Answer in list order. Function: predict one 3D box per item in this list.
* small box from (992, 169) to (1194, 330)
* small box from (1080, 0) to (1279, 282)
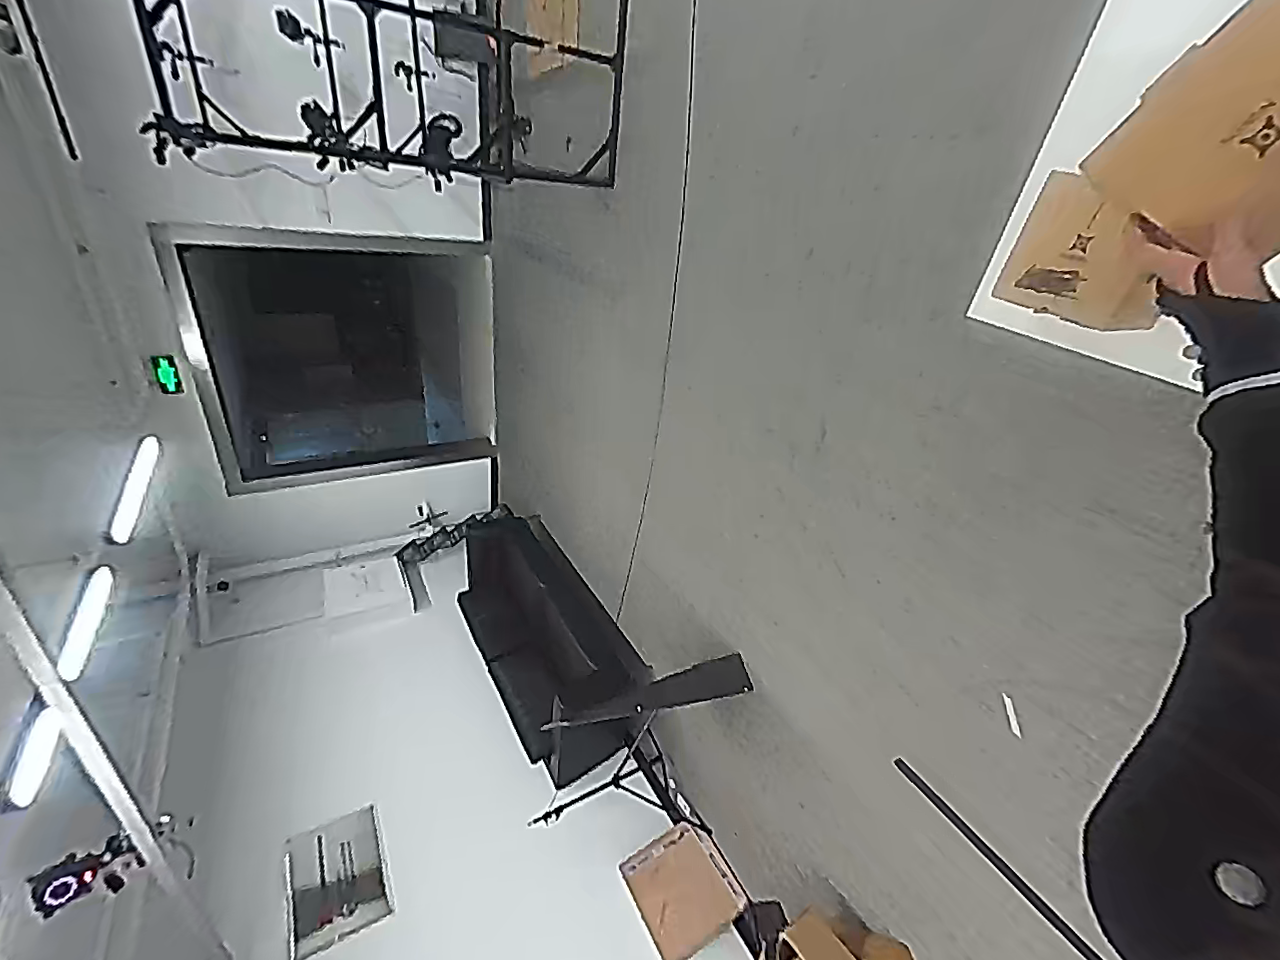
[{"bbox_3d":[0.664,-0.327,0.773,0.168,0.176,0.179,47,137,43],"label":"small box"},{"bbox_3d":[0.563,-0.309,0.499,0.179,0.176,0.168,53,134,16],"label":"small box"}]
